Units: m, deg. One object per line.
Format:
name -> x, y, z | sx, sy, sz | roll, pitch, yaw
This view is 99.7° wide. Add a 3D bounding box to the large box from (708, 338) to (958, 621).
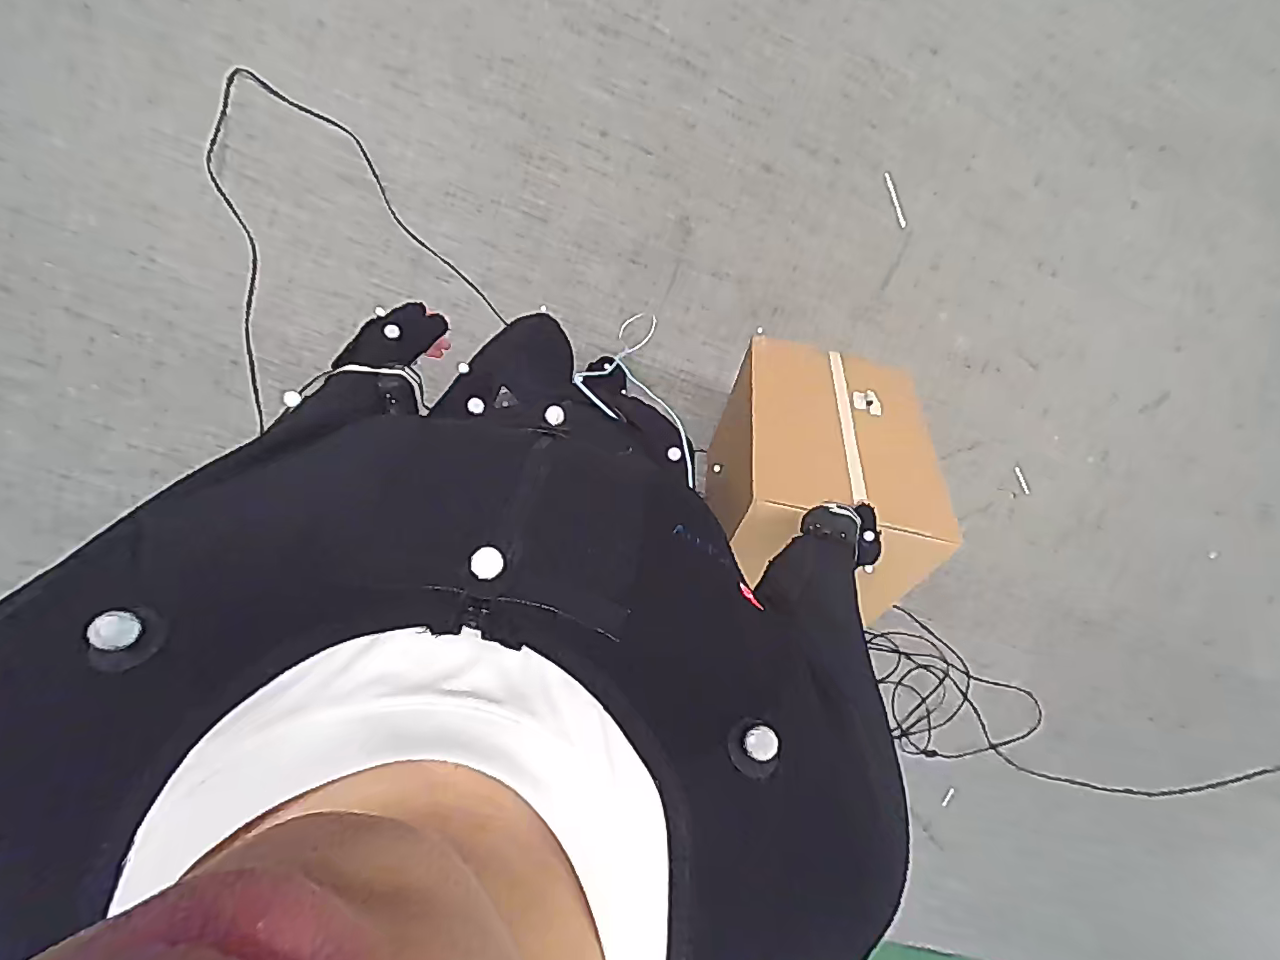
large box -> 0.317, 0.001, 1.017 | 0.320, 0.408, 0.320 | 12, 140, -3
